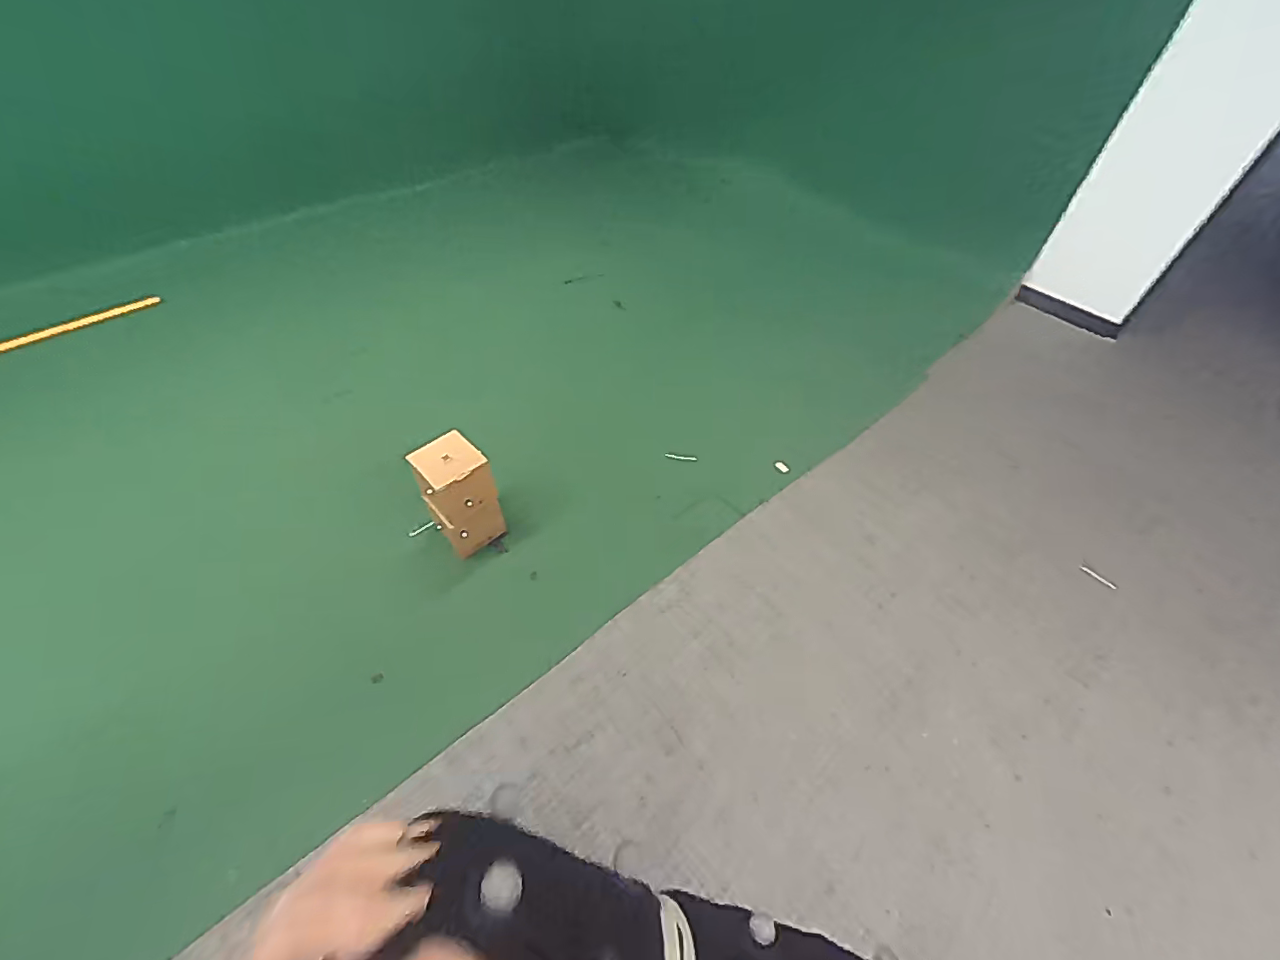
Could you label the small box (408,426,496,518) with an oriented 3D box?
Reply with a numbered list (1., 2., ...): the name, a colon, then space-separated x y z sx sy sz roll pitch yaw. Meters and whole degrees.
1. small box: -0.549 -0.021 1.597 0.168 0.176 0.179 -36 60 -28
